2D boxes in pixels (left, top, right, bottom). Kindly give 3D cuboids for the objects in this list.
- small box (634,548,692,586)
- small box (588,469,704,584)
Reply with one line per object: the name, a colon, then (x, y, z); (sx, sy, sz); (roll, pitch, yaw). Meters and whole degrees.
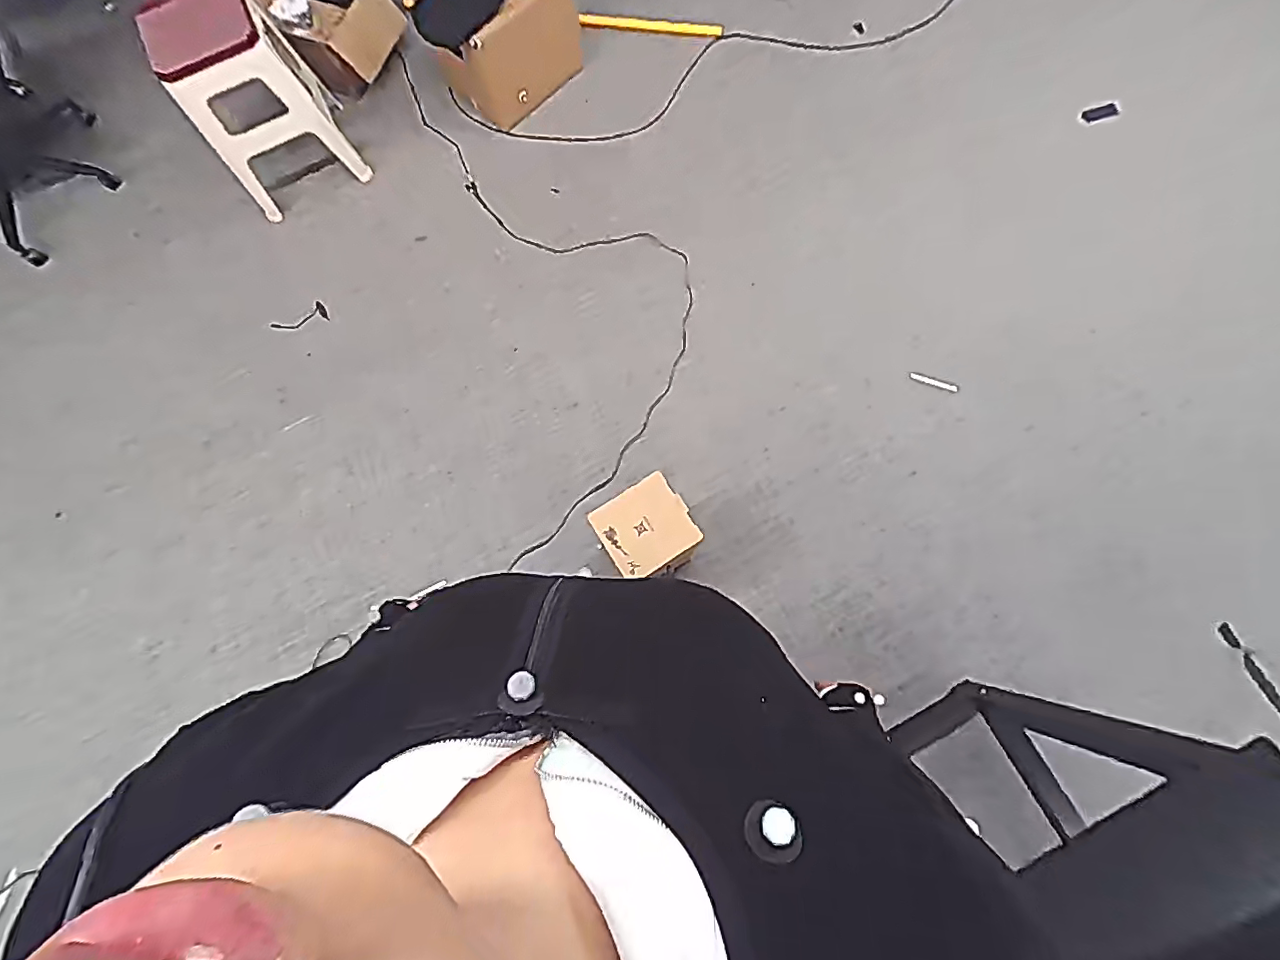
small box: (0.021, 0.172, 1.458); (0.179, 0.176, 0.168); (-32, 77, -4)
small box: (0.011, 0.104, 1.140); (0.179, 0.176, 0.168); (-33, 77, -6)
